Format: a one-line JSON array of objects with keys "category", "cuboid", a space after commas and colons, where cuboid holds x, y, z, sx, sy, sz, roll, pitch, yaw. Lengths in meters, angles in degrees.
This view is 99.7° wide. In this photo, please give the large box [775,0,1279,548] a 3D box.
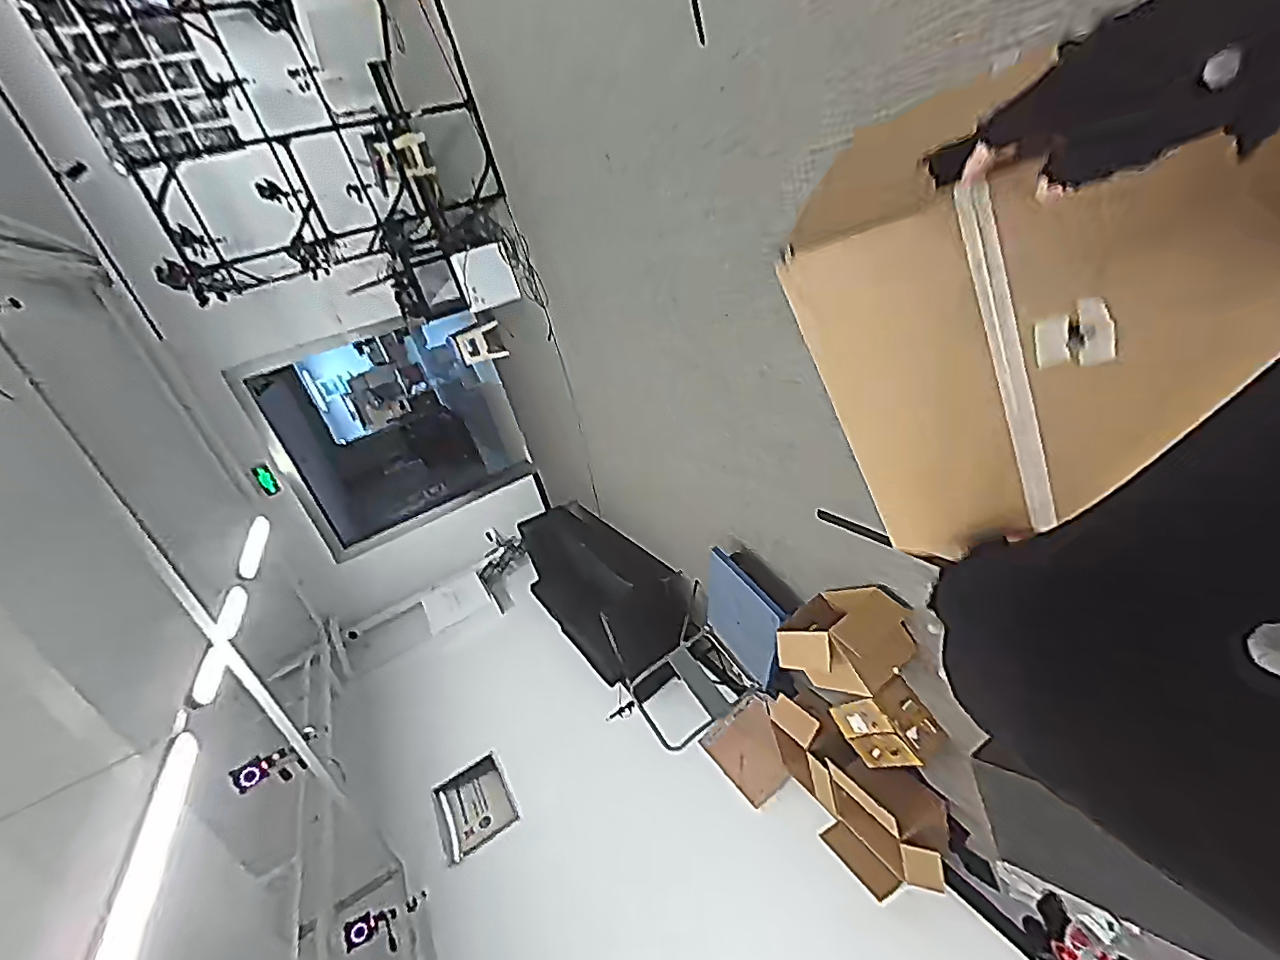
[{"category": "large box", "cuboid": [0.405, -0.176, 0.561, 0.320, 0.320, 0.408, -8, 127, 43]}]
